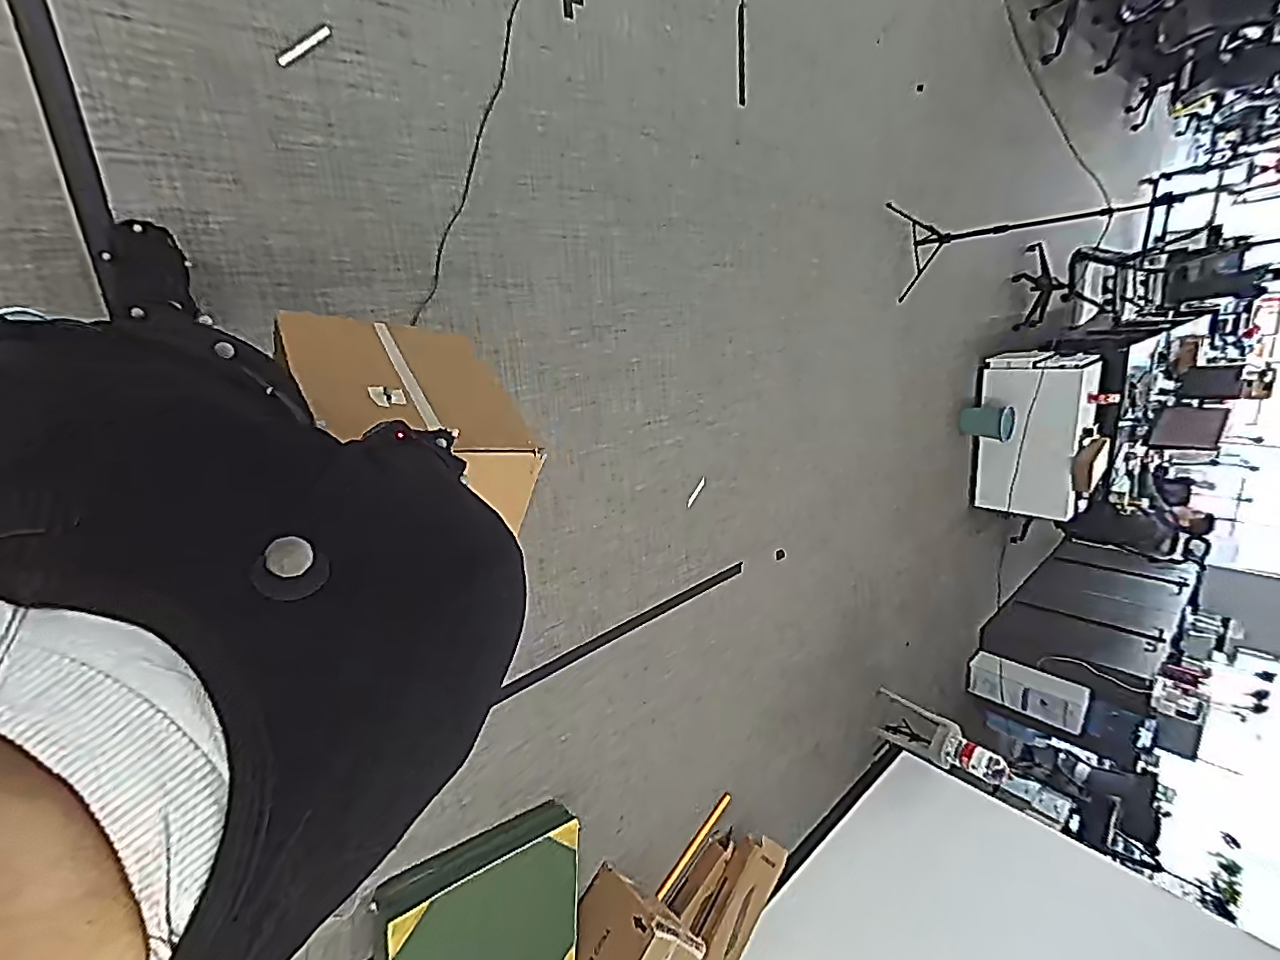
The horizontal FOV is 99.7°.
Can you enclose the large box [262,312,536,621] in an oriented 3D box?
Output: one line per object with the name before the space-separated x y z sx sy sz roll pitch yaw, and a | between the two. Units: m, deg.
large box | -0.434 -0.036 0.922 0.320 0.408 0.320 -4 131 -39
